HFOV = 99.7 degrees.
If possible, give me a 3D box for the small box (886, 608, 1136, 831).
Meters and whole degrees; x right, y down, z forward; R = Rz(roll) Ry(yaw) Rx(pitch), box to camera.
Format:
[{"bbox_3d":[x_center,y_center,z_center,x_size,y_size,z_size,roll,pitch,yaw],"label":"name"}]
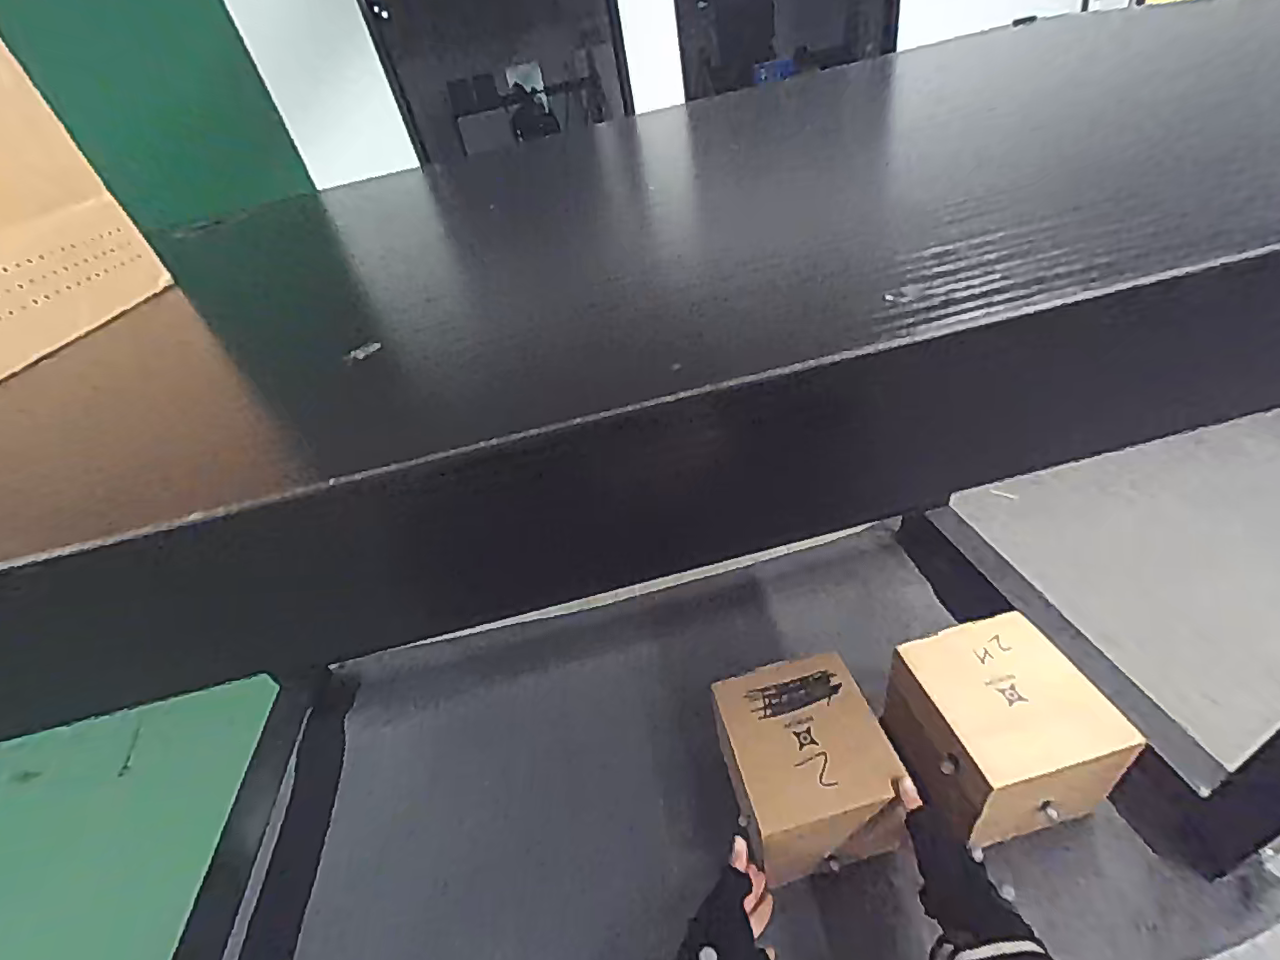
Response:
[{"bbox_3d":[0.422,0.292,0.654,0.168,0.176,0.179,-16,36,-3],"label":"small box"}]
